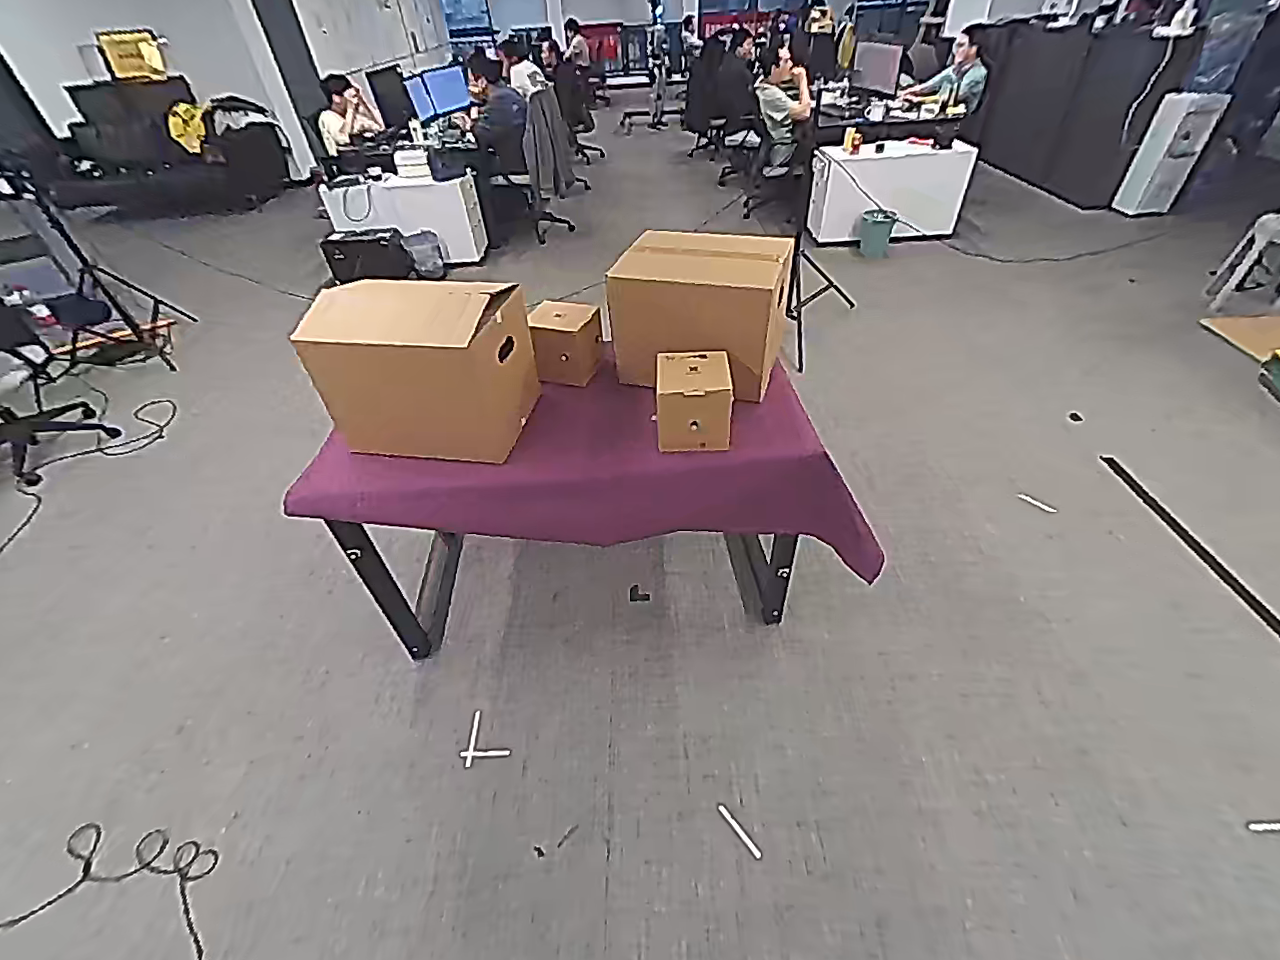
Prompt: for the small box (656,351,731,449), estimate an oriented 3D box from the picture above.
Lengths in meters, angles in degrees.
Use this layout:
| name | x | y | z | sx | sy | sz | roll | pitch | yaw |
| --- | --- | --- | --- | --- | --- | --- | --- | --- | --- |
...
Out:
| name | x | y | z | sx | sy | sz | roll | pitch | yaw |
| --- | --- | --- | --- | --- | --- | --- | --- | --- | --- |
| small box | 0.125 | -0.184 | 1.275 | 0.168 | 0.176 | 0.179 | -1 | 42 | 4 |
